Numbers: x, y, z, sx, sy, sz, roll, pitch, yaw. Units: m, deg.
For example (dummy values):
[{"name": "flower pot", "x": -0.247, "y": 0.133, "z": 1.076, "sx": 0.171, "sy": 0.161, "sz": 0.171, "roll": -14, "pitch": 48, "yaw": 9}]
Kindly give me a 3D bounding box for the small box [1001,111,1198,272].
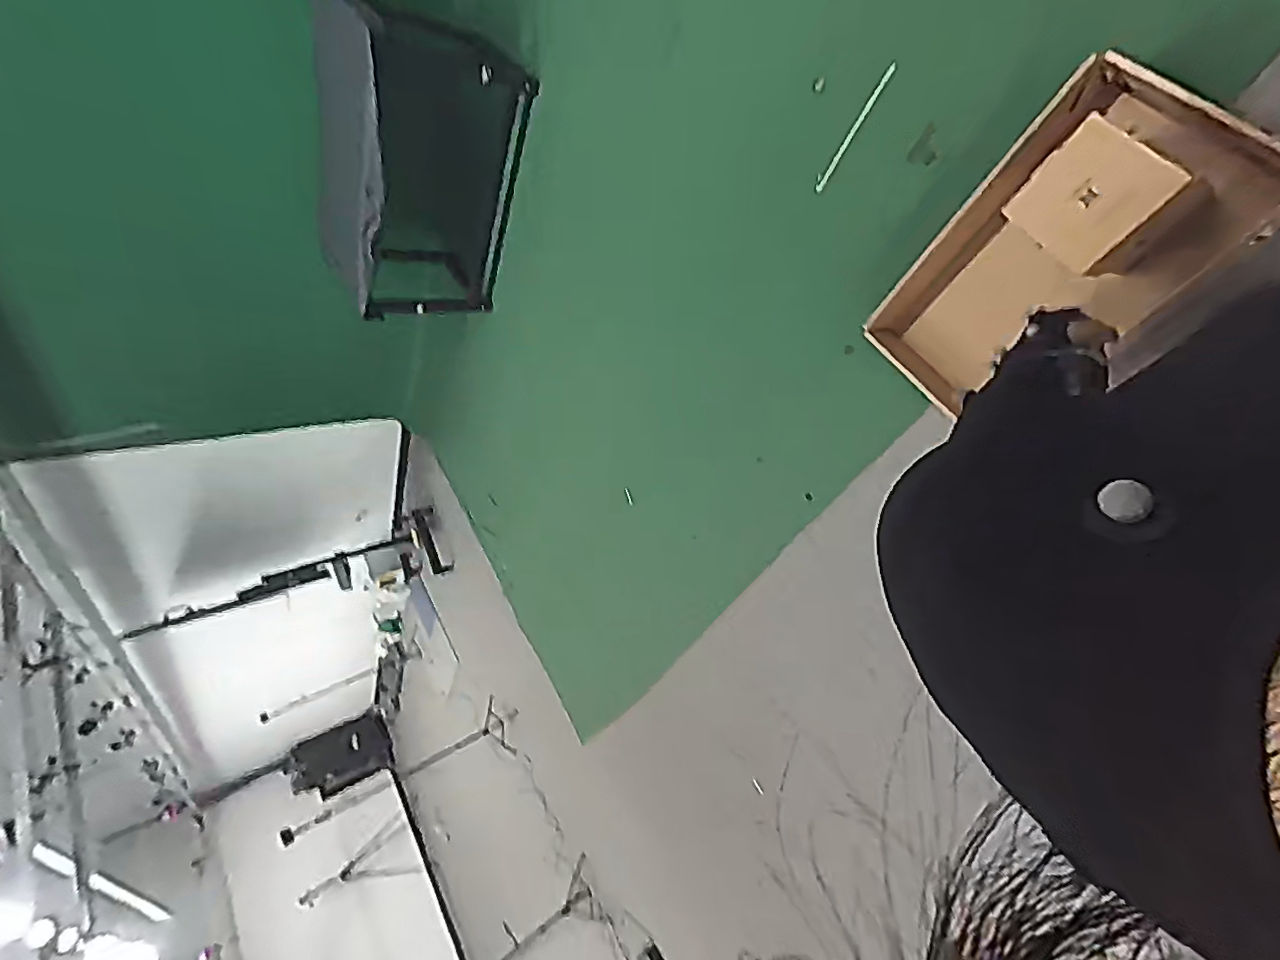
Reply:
[{"name": "small box", "x": 0.751, "y": -0.460, "z": 0.889, "sx": 0.179, "sy": 0.176, "sz": 0.168, "roll": 55, "pitch": 138, "yaw": 20}]
